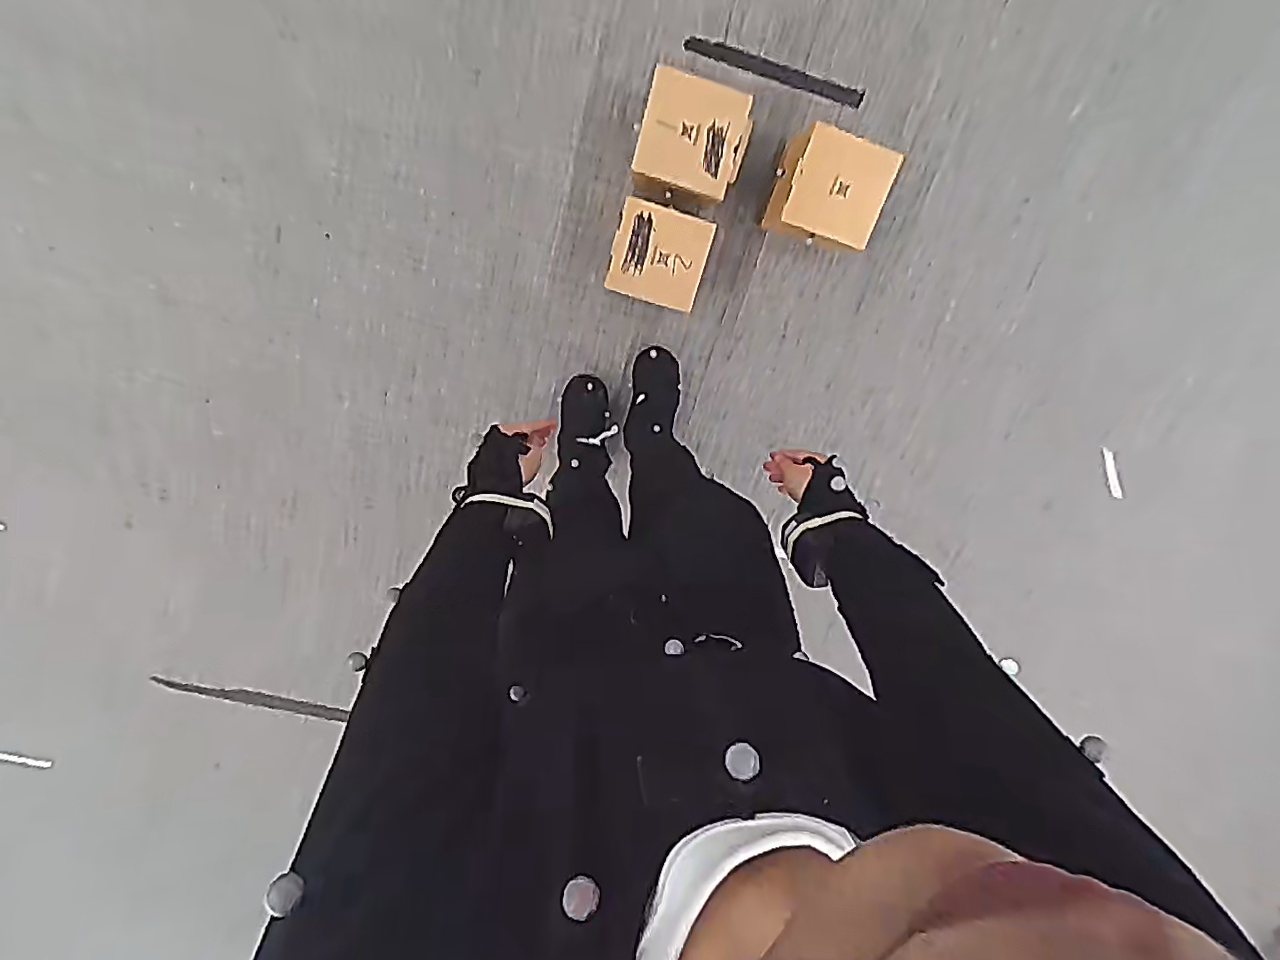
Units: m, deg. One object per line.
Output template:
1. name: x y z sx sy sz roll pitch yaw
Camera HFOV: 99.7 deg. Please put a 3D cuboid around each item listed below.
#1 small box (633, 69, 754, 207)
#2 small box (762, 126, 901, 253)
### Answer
1. small box: 0.091 -0.632 1.024 0.179 0.176 0.168 15 110 -6
2. small box: 0.364 -0.559 1.061 0.179 0.176 0.168 16 110 -7
